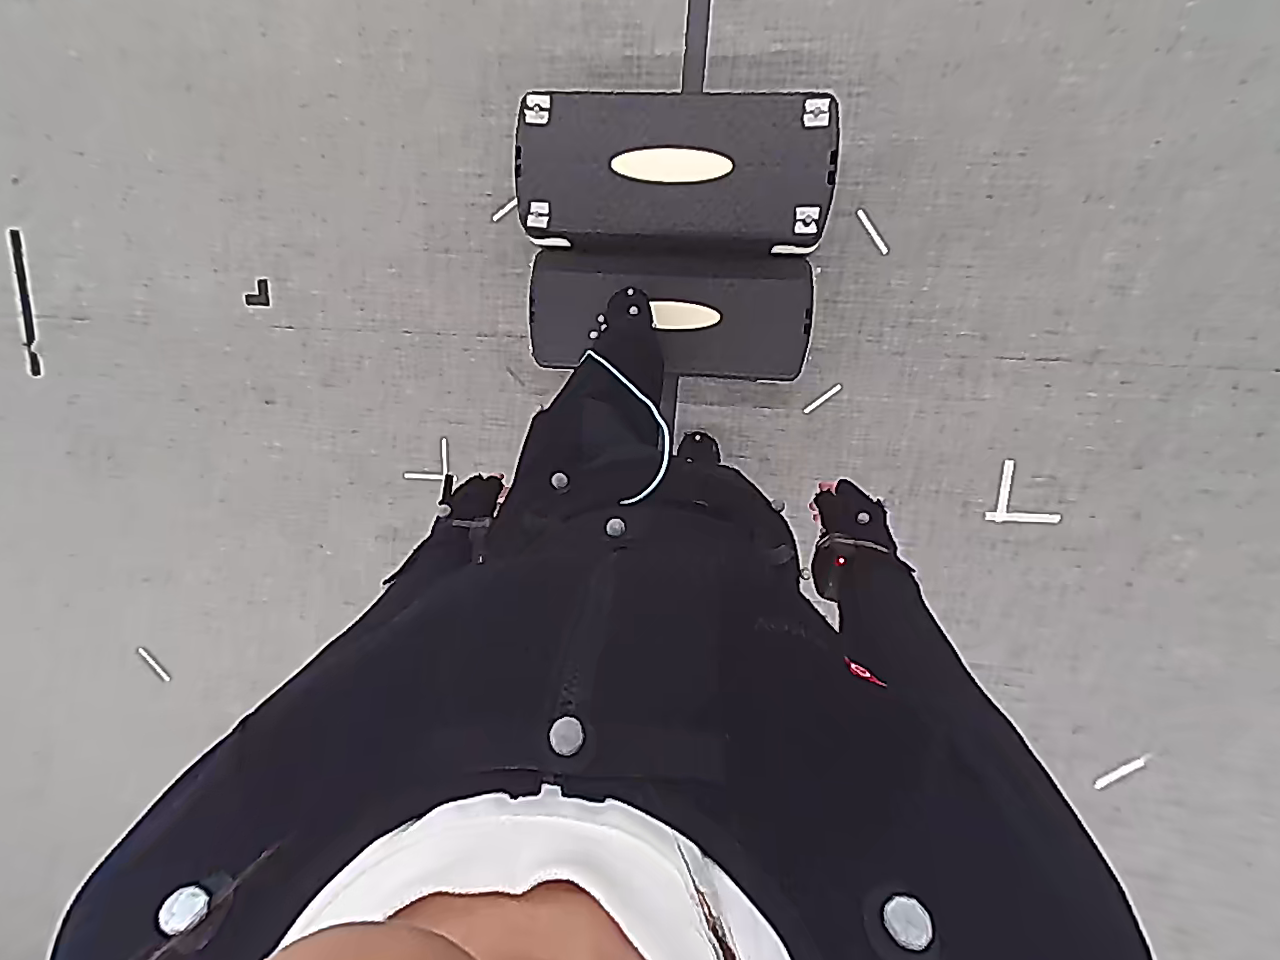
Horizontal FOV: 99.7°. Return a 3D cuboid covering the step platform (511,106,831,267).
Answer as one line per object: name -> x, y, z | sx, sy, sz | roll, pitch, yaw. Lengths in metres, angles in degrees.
step platform -> 0.062, -0.643, 1.202 | 0.684, 0.204, 0.286 | 3, 104, 5
